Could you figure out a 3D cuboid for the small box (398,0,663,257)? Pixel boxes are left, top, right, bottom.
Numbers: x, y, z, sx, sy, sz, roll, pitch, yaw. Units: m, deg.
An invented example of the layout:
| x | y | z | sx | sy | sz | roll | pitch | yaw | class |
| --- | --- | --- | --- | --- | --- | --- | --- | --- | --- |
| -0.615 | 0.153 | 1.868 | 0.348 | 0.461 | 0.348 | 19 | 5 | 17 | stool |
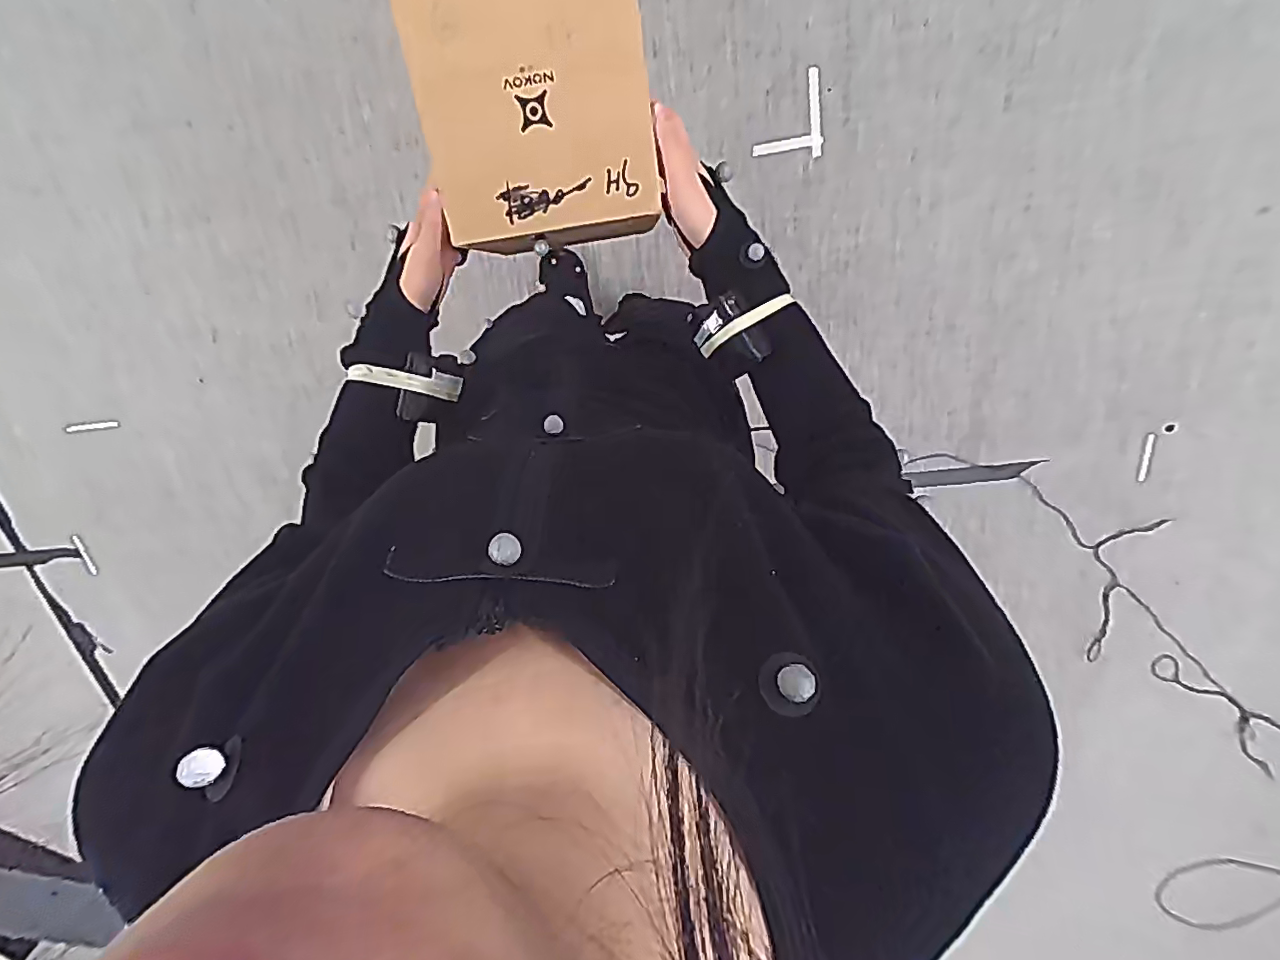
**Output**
| x | y | z | sx | sy | sz | roll | pitch | yaw | class |
| --- | --- | --- | --- | --- | --- | --- | --- | --- | --- |
| -0.077 | -0.297 | 0.457 | 0.168 | 0.176 | 0.179 | -8 | 110 | 1 | small box |
